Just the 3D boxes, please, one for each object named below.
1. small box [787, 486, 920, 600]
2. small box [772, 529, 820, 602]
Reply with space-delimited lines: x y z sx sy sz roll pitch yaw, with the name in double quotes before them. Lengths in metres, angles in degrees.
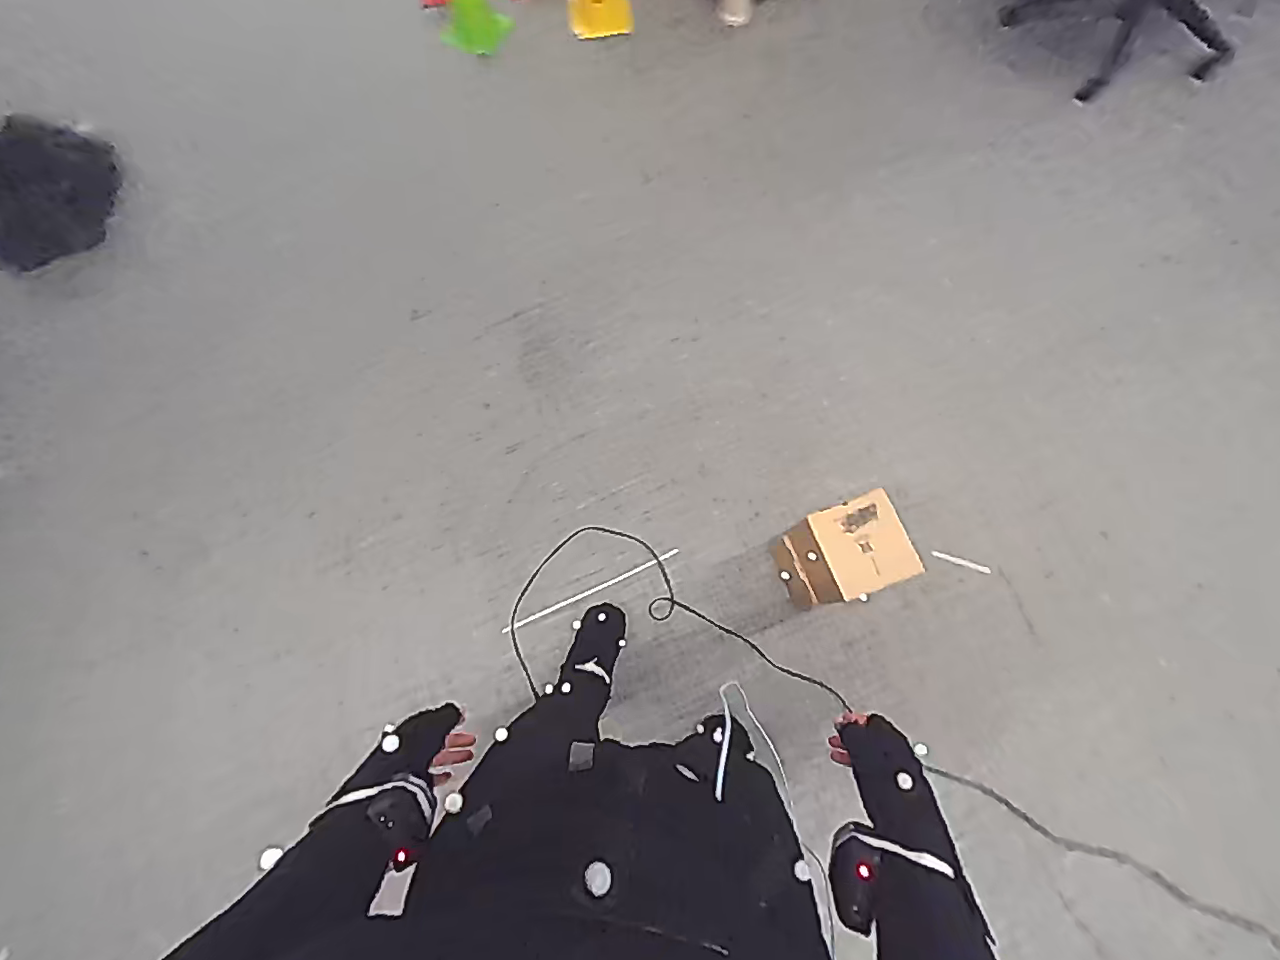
"small box" 0.422 0.135 1.104 0.168 0.176 0.179 -20 76 -3
"small box" 0.423 0.179 1.263 0.179 0.176 0.168 -22 76 -3
